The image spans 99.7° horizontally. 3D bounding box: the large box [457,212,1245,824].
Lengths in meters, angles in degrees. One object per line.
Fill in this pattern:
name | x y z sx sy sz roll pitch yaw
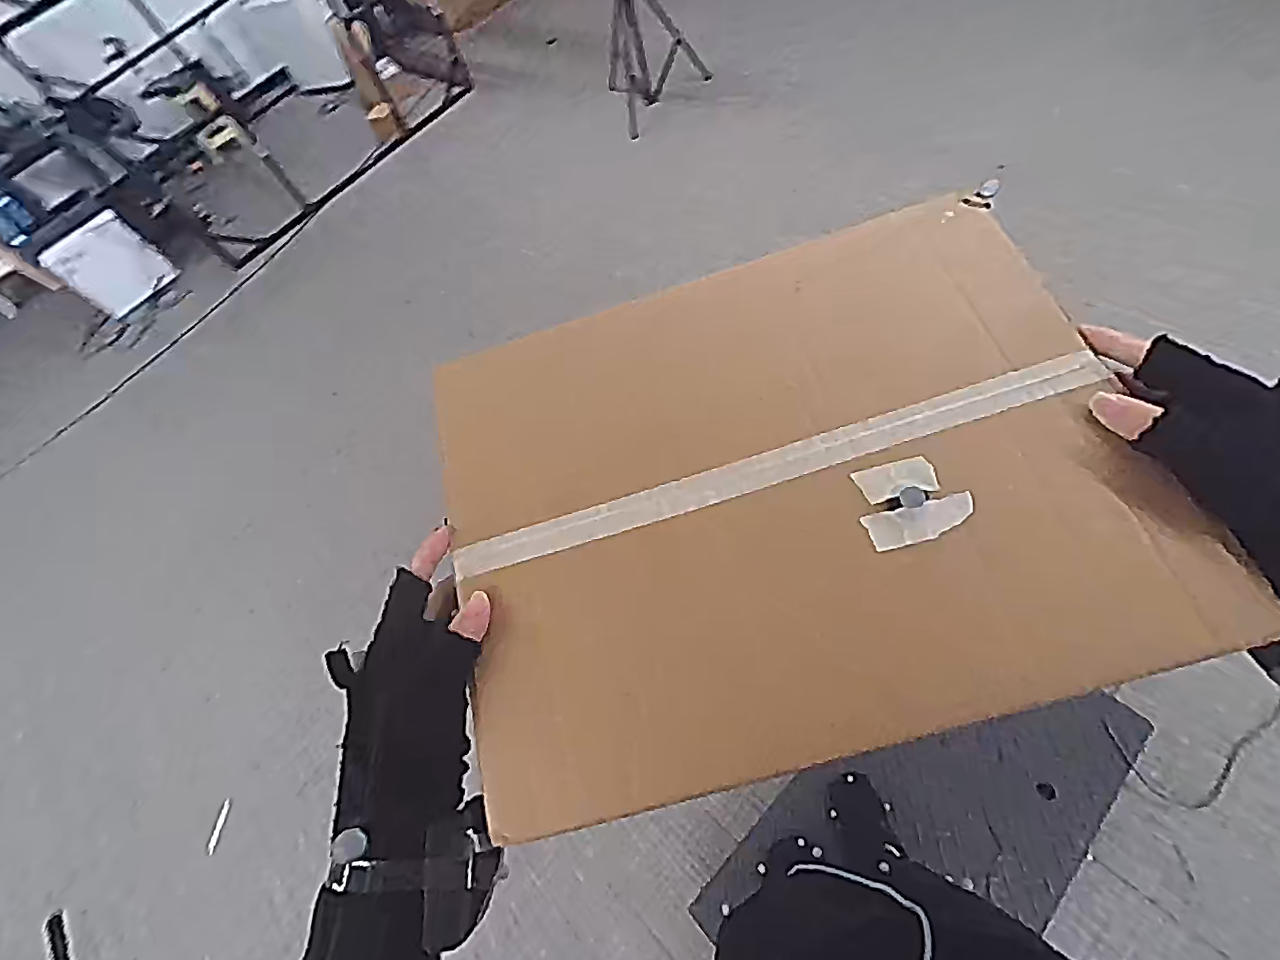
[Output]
large box | 0.107 0.052 0.479 0.408 0.320 0.320 -17 67 4
